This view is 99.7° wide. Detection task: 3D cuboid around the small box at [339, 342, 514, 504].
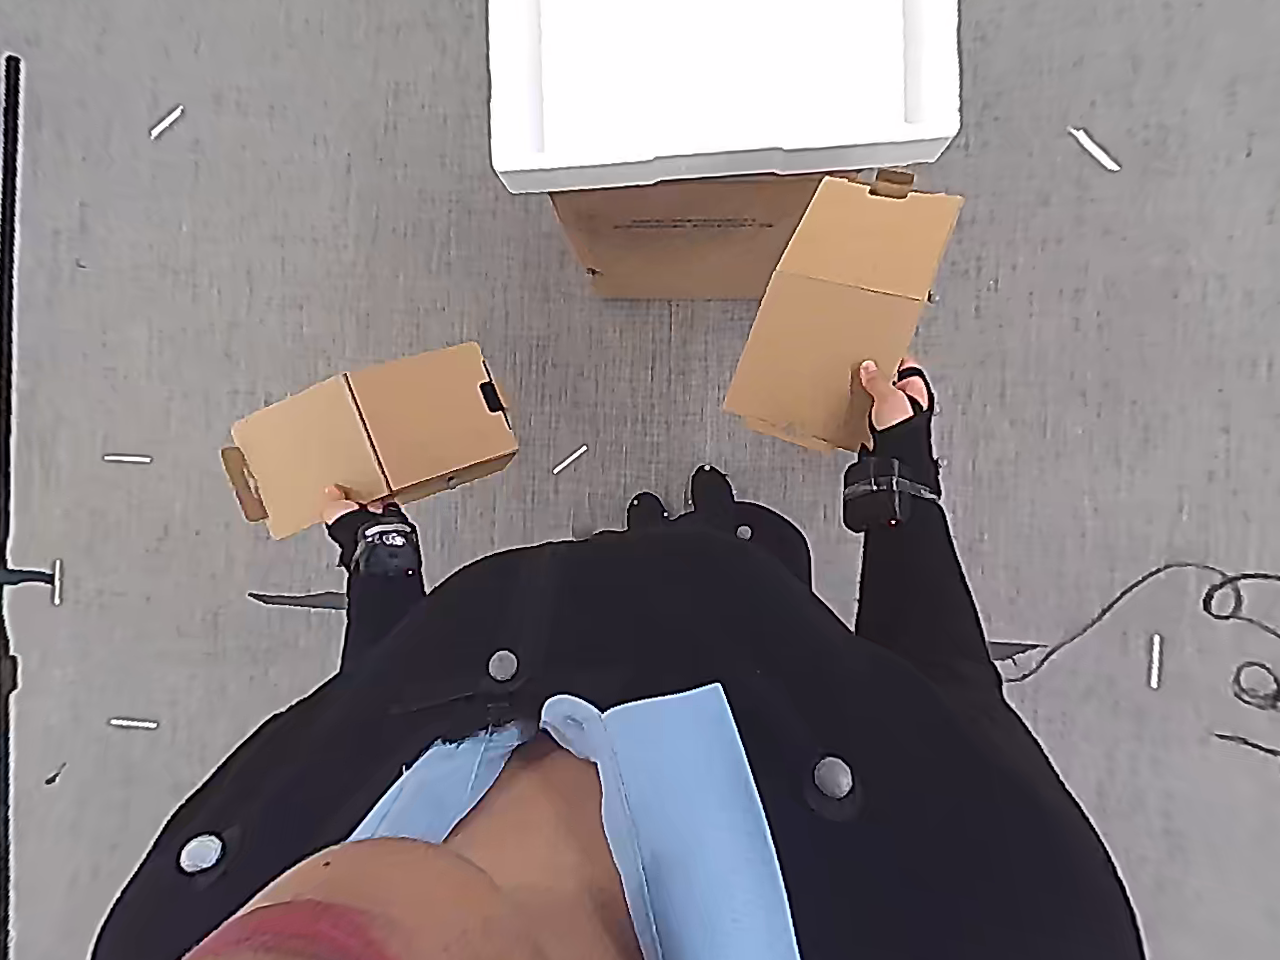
[{"bbox_3d":[-0.300,-0.073,0.778,0.179,0.176,0.168,-22,90,-23],"label":"small box"}]
